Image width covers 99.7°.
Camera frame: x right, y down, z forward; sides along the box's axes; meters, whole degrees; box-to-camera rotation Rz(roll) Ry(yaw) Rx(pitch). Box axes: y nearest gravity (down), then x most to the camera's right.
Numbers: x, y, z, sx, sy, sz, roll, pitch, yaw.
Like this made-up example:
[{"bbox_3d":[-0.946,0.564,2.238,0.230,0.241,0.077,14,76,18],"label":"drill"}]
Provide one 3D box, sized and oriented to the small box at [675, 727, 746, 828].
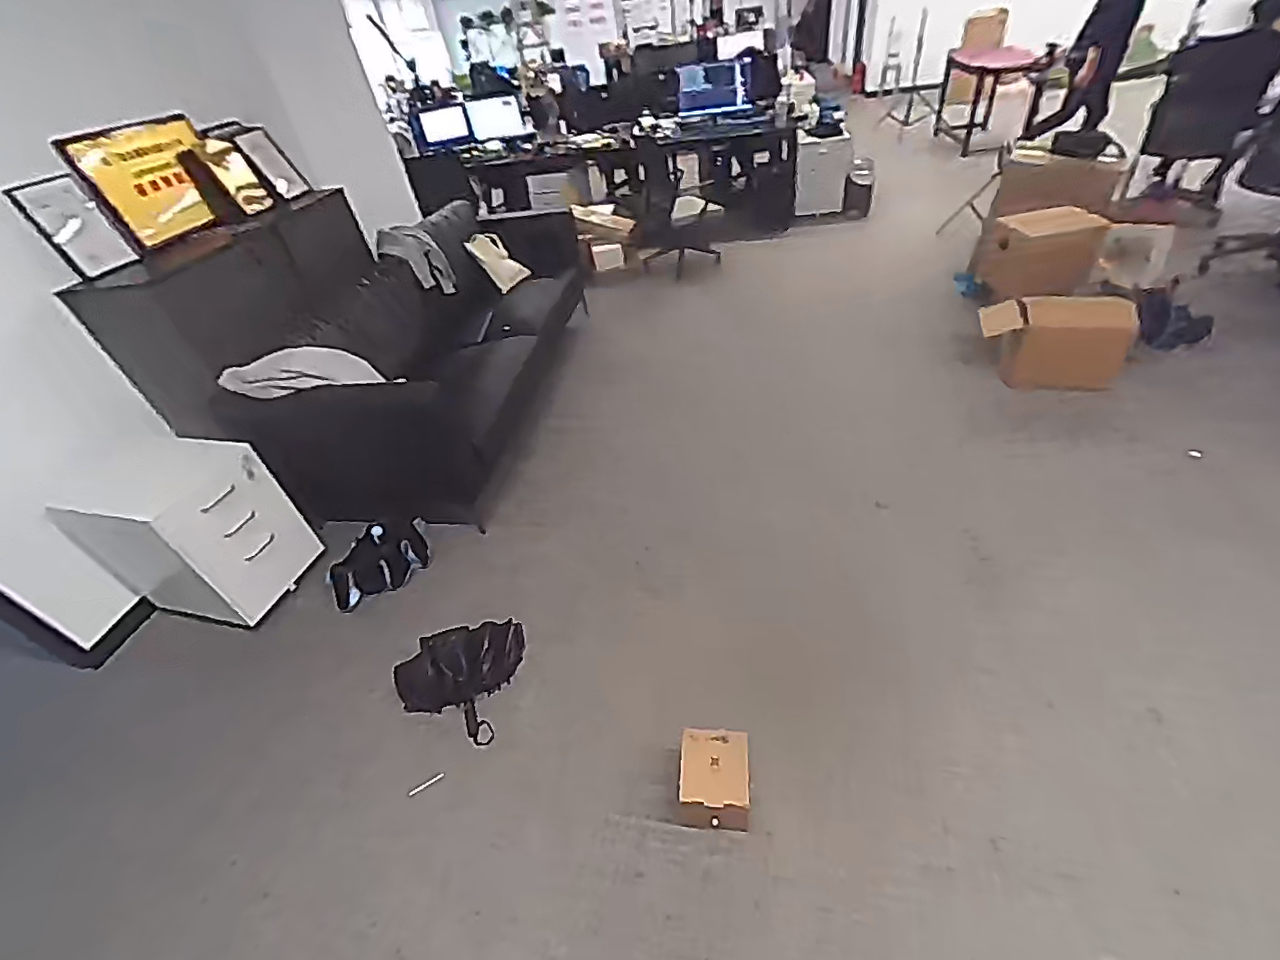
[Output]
[{"bbox_3d":[0.182,0.750,1.361,0.168,0.176,0.179,0,42,10],"label":"small box"}]
